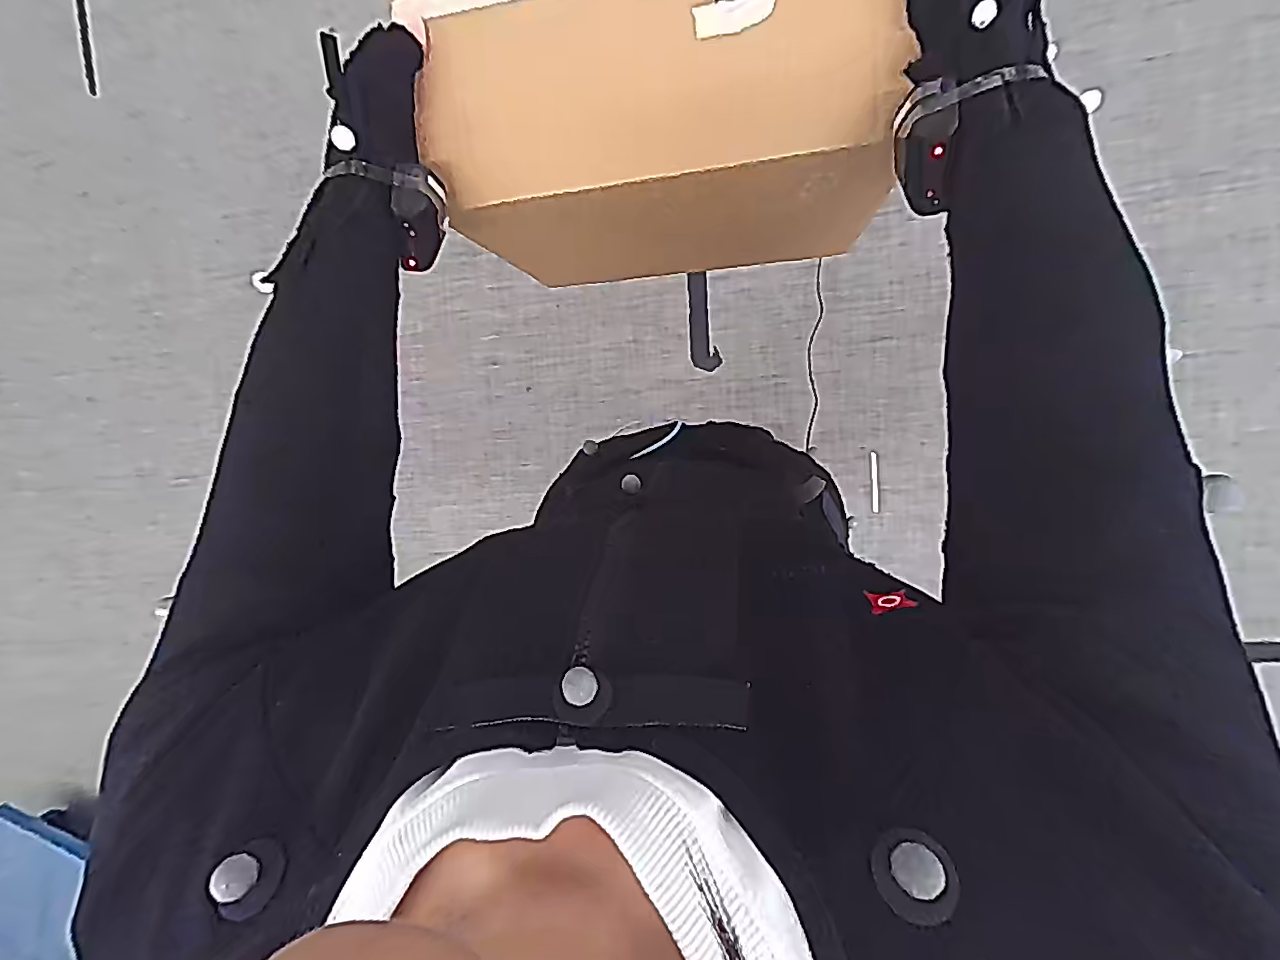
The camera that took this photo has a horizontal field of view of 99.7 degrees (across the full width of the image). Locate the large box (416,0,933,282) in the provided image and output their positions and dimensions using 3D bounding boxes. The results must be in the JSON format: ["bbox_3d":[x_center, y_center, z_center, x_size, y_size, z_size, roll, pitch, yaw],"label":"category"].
[{"bbox_3d":[0.031,-0.420,0.561,0.408,0.320,0.320,-3,98,10],"label":"large box"}]
